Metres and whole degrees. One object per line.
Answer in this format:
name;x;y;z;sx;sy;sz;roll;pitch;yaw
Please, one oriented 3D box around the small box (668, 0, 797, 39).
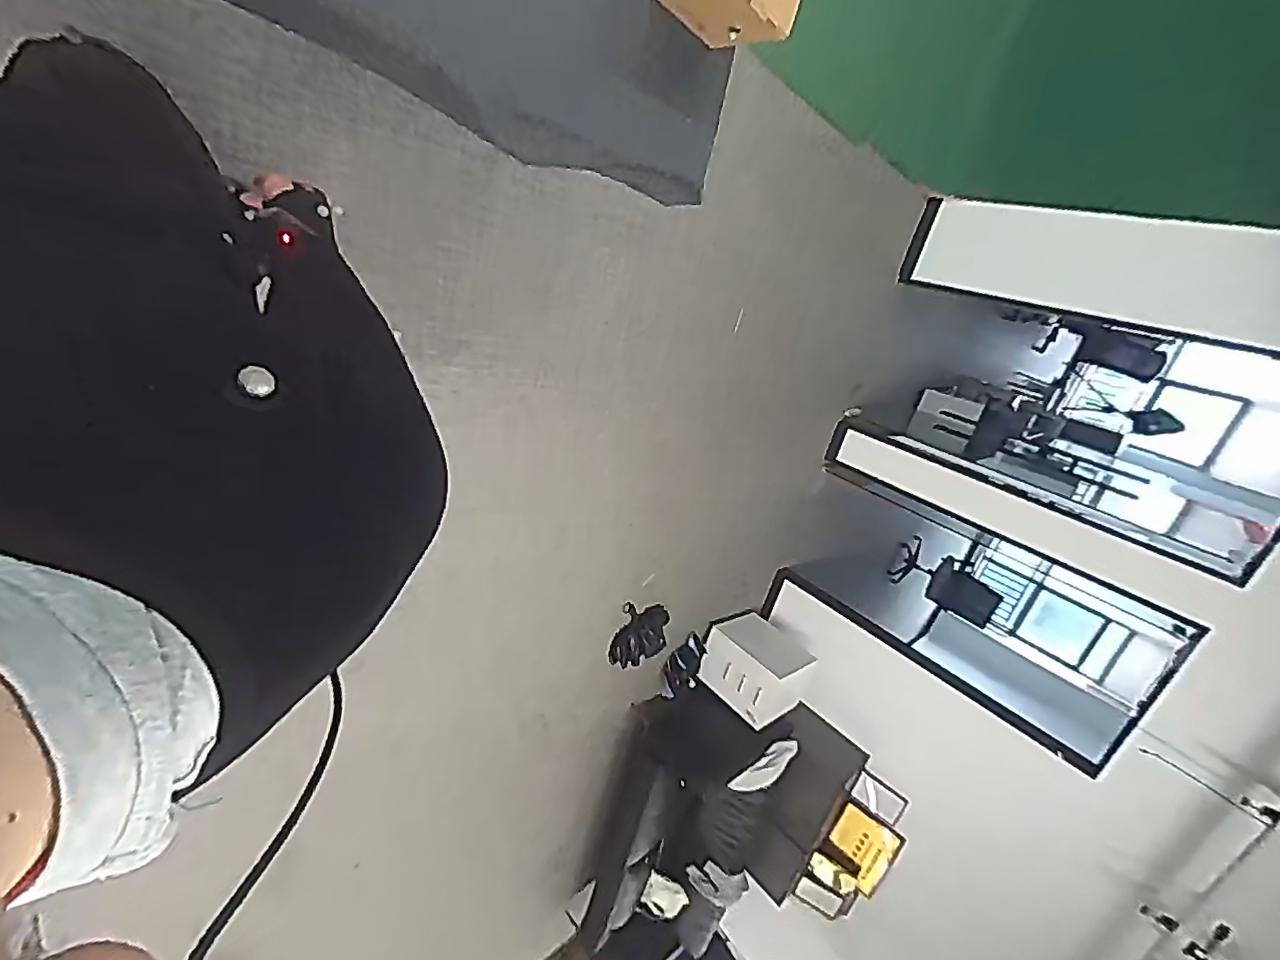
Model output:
small box;0.142;-0.809;0.816;0.168;0.176;0.179;-4;116;-46
